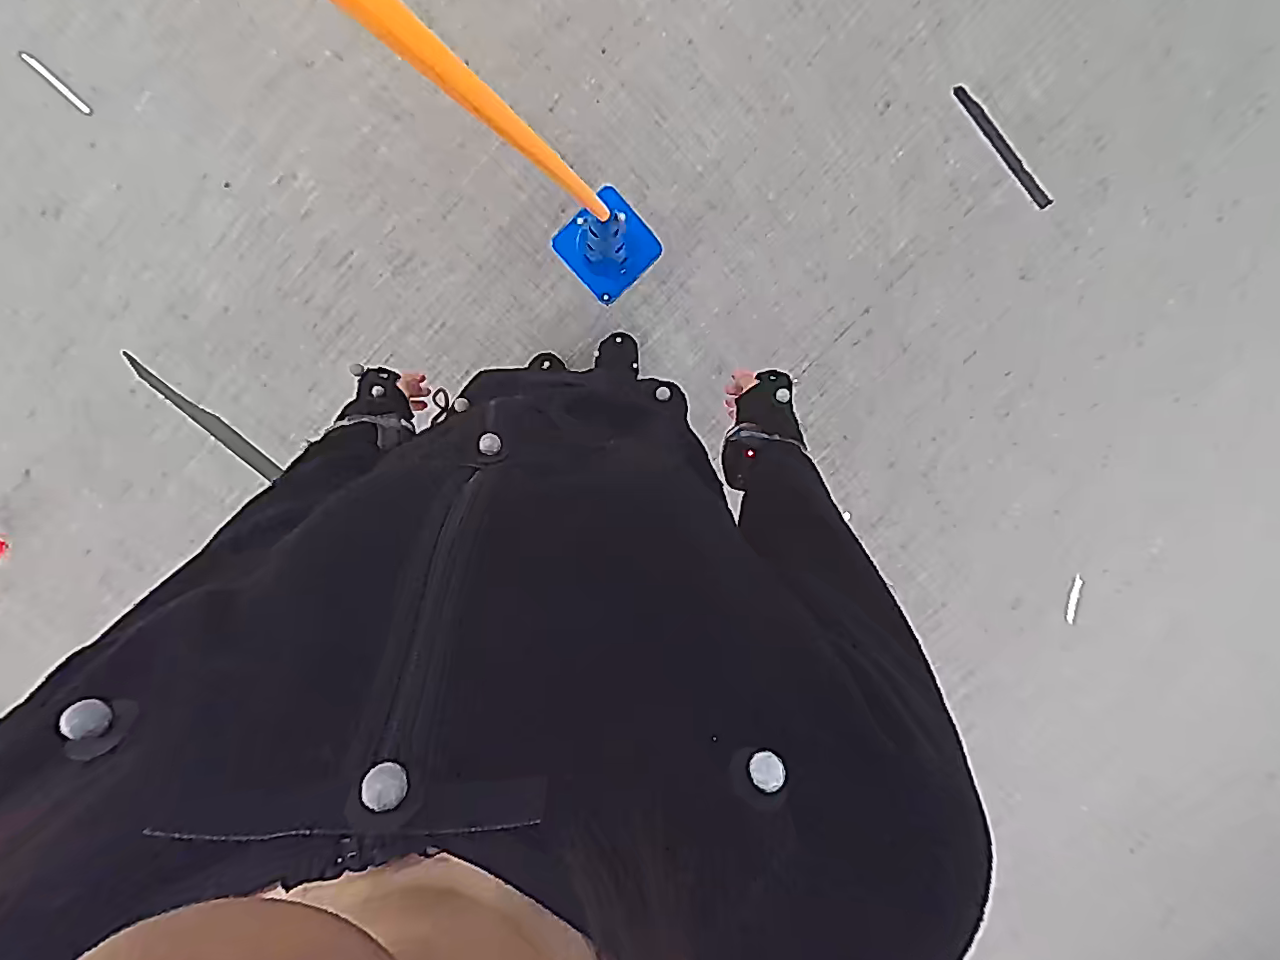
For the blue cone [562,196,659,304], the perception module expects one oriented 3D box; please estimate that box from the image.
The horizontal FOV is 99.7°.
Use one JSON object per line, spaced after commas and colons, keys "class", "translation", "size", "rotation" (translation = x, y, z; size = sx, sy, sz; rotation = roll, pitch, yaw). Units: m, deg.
{"class": "blue cone", "translation": [-0.063, -0.506, 1.131], "size": [0.193, 0.380, 0.192], "rotation": [-41, 103, 8]}
